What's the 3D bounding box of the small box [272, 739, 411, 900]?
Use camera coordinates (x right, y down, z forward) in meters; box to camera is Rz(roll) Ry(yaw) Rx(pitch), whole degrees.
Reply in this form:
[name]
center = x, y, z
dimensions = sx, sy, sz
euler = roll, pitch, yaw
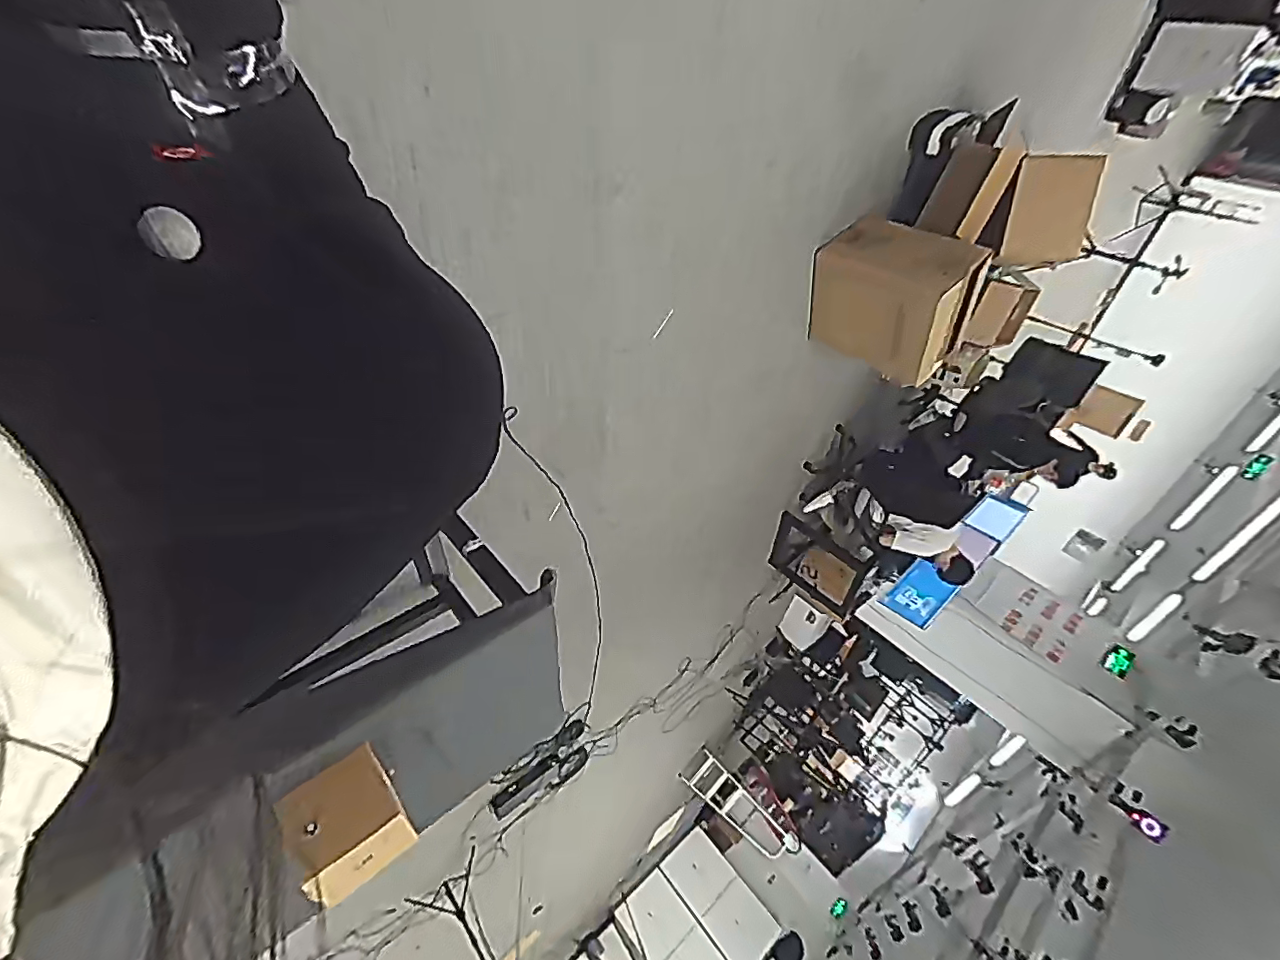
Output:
[small box]
center = -0.579, 0.650, 1.045
dimensions = 0.179, 0.176, 0.168
euler = -30, 143, -32
